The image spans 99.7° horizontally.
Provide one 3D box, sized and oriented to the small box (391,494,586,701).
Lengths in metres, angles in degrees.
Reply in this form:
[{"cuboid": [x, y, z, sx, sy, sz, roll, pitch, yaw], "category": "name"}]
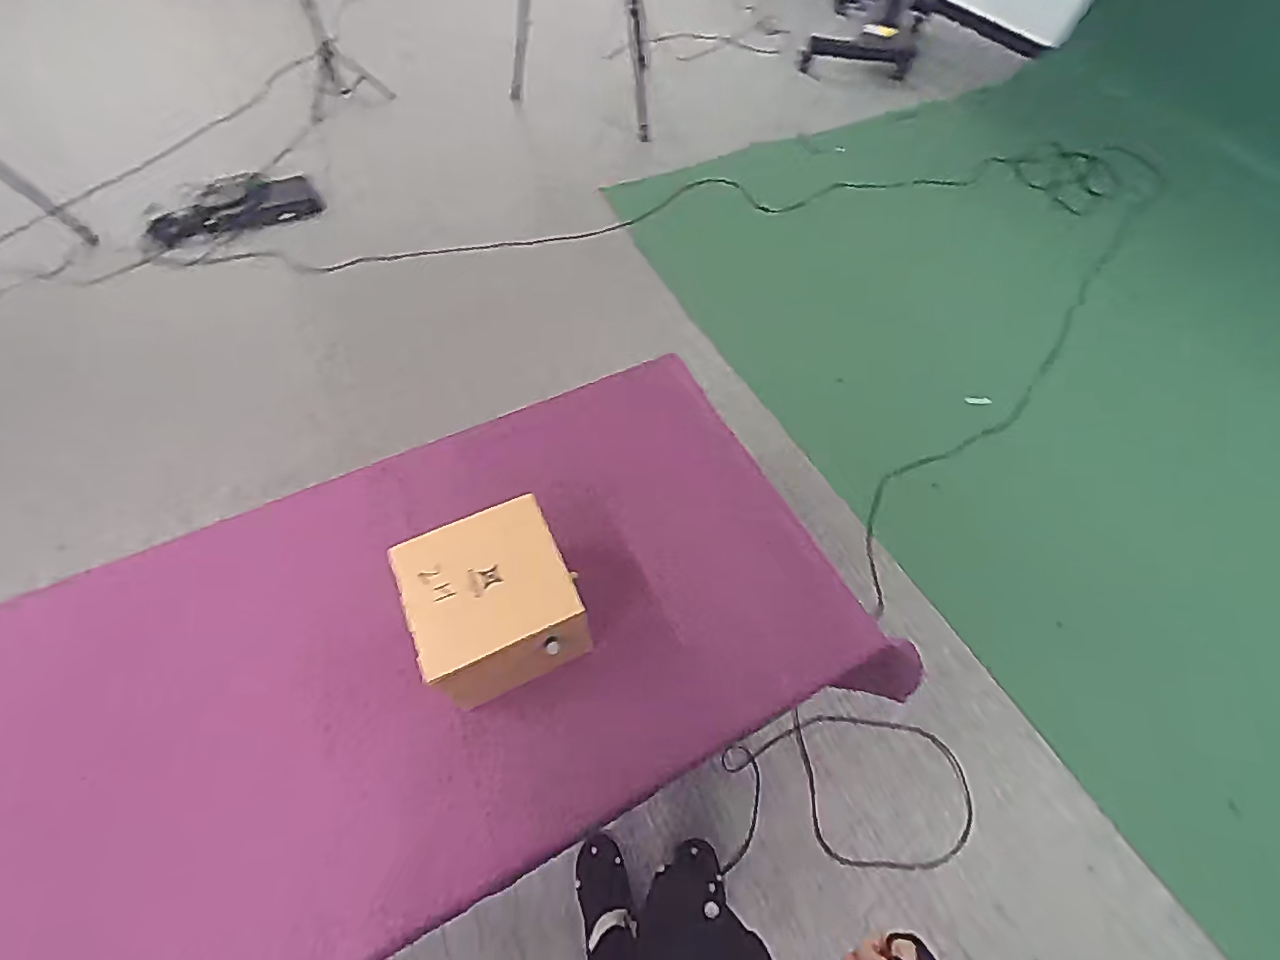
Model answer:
[{"cuboid": [-0.175, 0.150, 0.670, 0.179, 0.176, 0.168, -23, 62, -14], "category": "small box"}]
